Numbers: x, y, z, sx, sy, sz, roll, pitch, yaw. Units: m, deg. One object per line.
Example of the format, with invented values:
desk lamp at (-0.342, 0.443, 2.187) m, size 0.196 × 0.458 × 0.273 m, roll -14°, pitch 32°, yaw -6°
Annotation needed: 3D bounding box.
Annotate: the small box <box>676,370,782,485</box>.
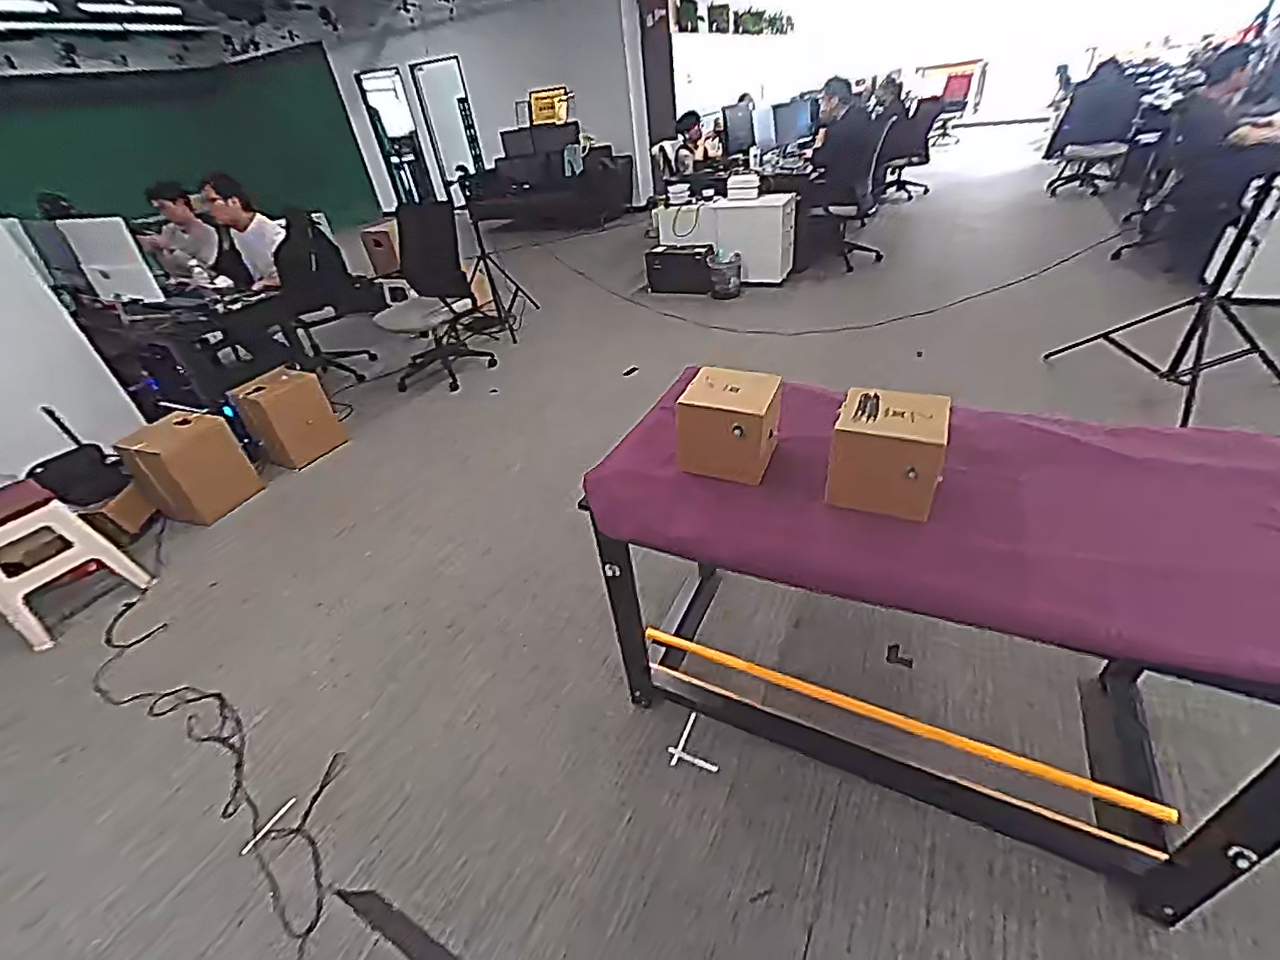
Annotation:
small box at (0.186, -0.109, 1.132) m, size 0.179 × 0.176 × 0.168 m, roll 12°, pitch 39°, yaw 22°
